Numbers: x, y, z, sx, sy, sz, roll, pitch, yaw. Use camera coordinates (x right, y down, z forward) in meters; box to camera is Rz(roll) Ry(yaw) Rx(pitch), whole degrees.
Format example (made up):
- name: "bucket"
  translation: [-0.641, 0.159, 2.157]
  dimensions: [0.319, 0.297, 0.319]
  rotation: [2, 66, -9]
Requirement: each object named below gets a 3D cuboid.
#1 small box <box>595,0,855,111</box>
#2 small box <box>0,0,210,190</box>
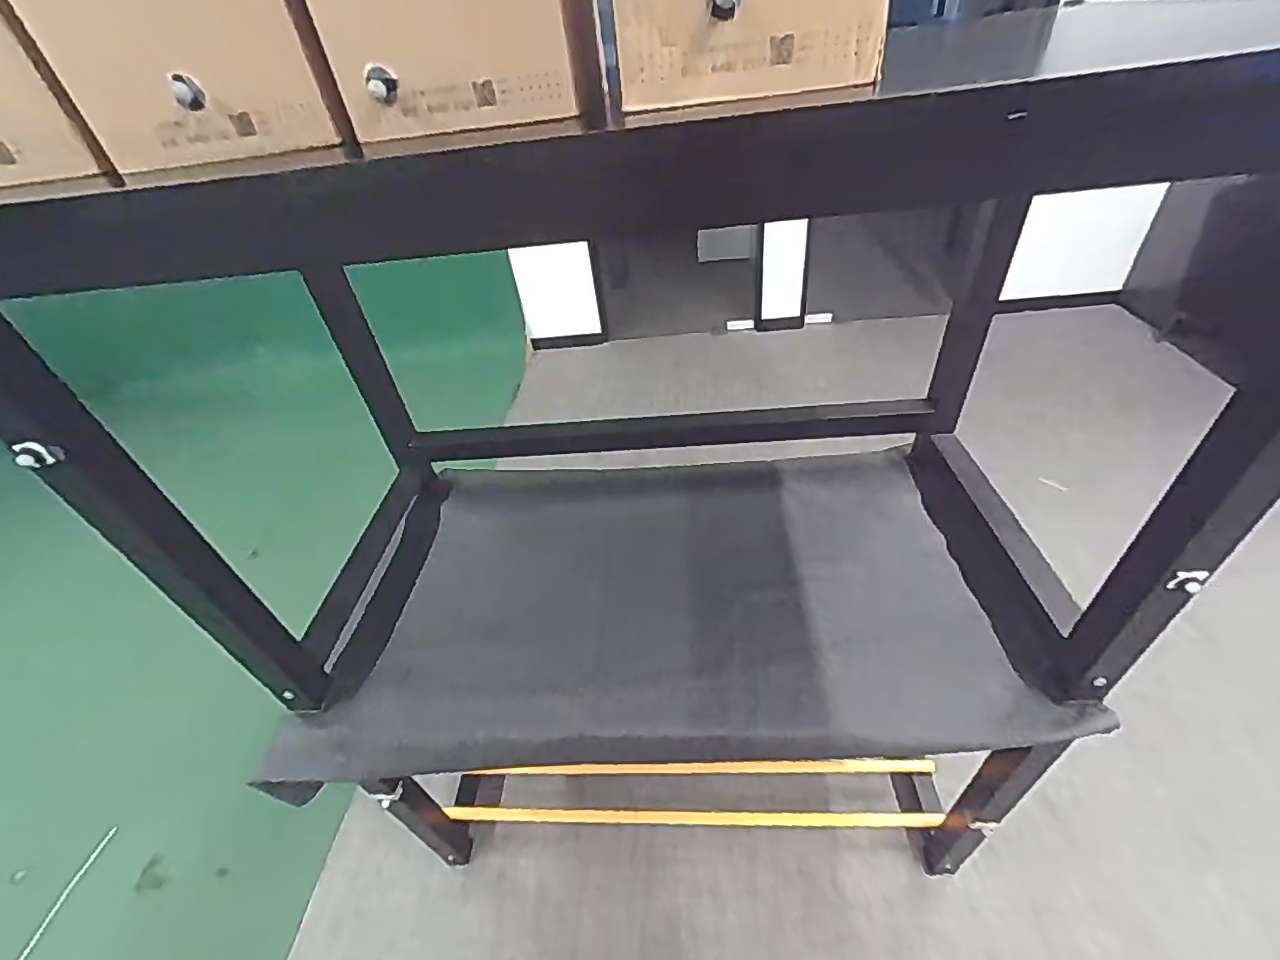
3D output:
- name: "small box"
  translation: [0.054, -0.373, 0.382]
  dimensions: [0.168, 0.176, 0.179]
  rotation: [-3, 40, 6]
- name: "small box"
  translation: [-0.516, -0.346, 0.447]
  dimensions: [0.168, 0.176, 0.179]
  rotation: [-6, 38, 0]
